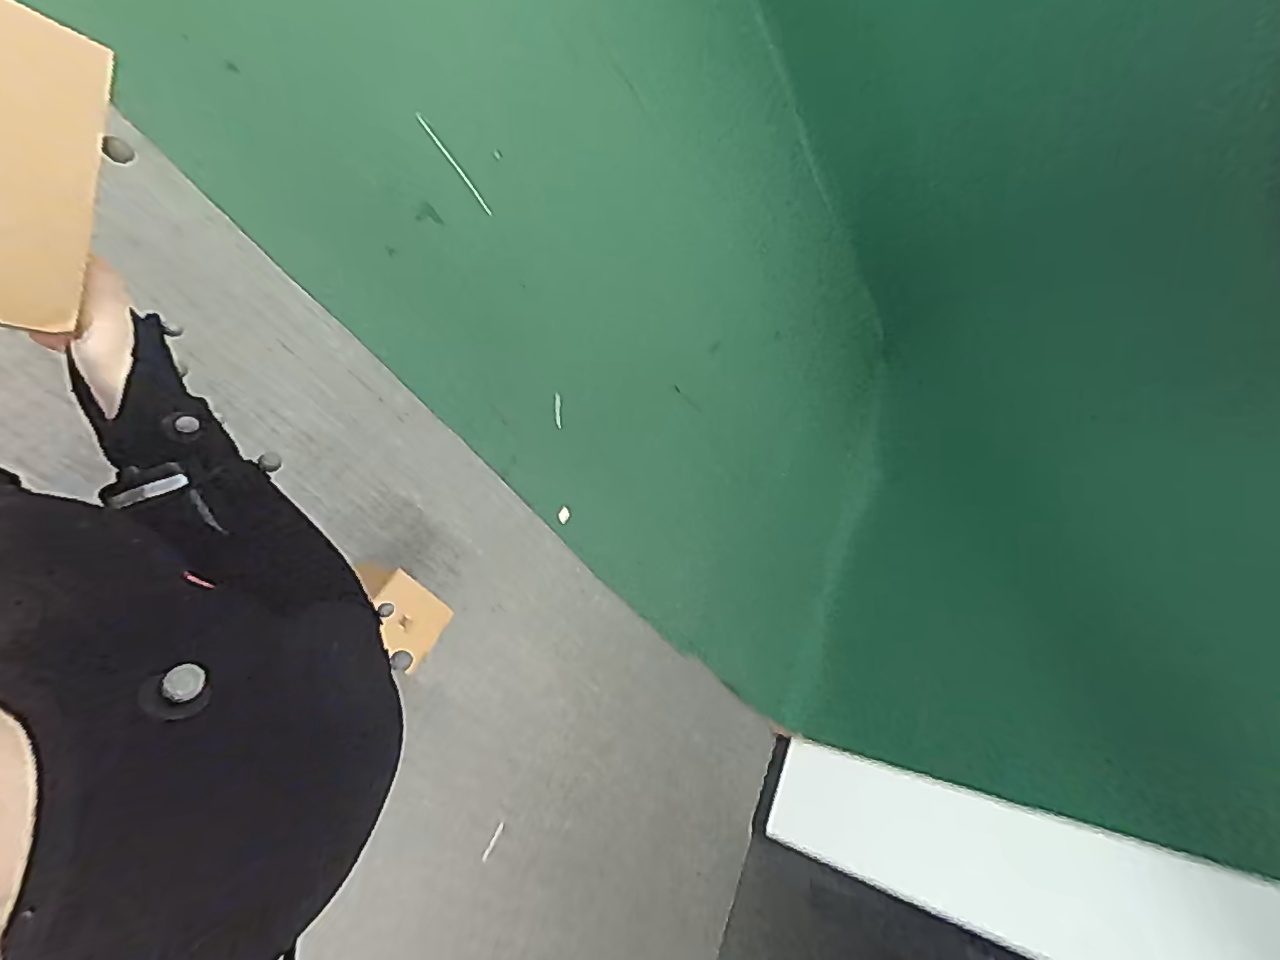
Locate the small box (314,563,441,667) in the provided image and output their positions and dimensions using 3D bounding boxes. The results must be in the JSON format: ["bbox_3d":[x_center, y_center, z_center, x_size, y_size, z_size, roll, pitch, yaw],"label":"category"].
[{"bbox_3d":[-0.611,0.306,1.260,0.179,0.176,0.168,52,53,-30],"label":"small box"}]
